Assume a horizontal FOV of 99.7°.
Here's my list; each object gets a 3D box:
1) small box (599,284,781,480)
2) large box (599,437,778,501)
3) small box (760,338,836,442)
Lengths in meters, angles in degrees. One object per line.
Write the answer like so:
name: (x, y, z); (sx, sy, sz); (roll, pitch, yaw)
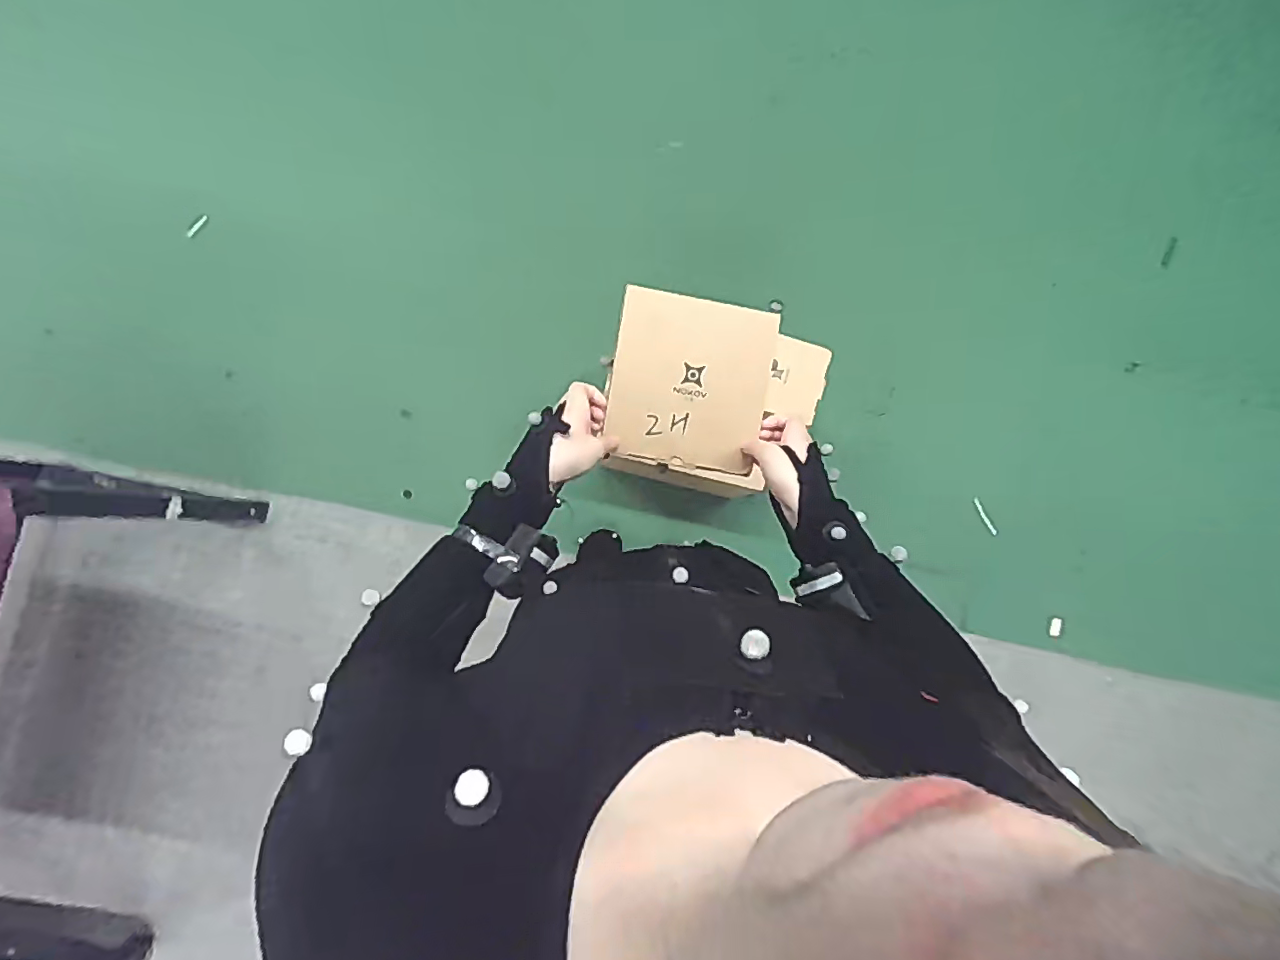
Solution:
small box: (0.046, -0.103, 0.630); (0.168, 0.176, 0.179); (10, 94, -4)
large box: (0.120, -0.144, 1.387); (0.408, 0.320, 0.320); (14, 85, -2)
small box: (0.284, -0.188, 1.153); (0.179, 0.176, 0.168); (18, 83, -1)
